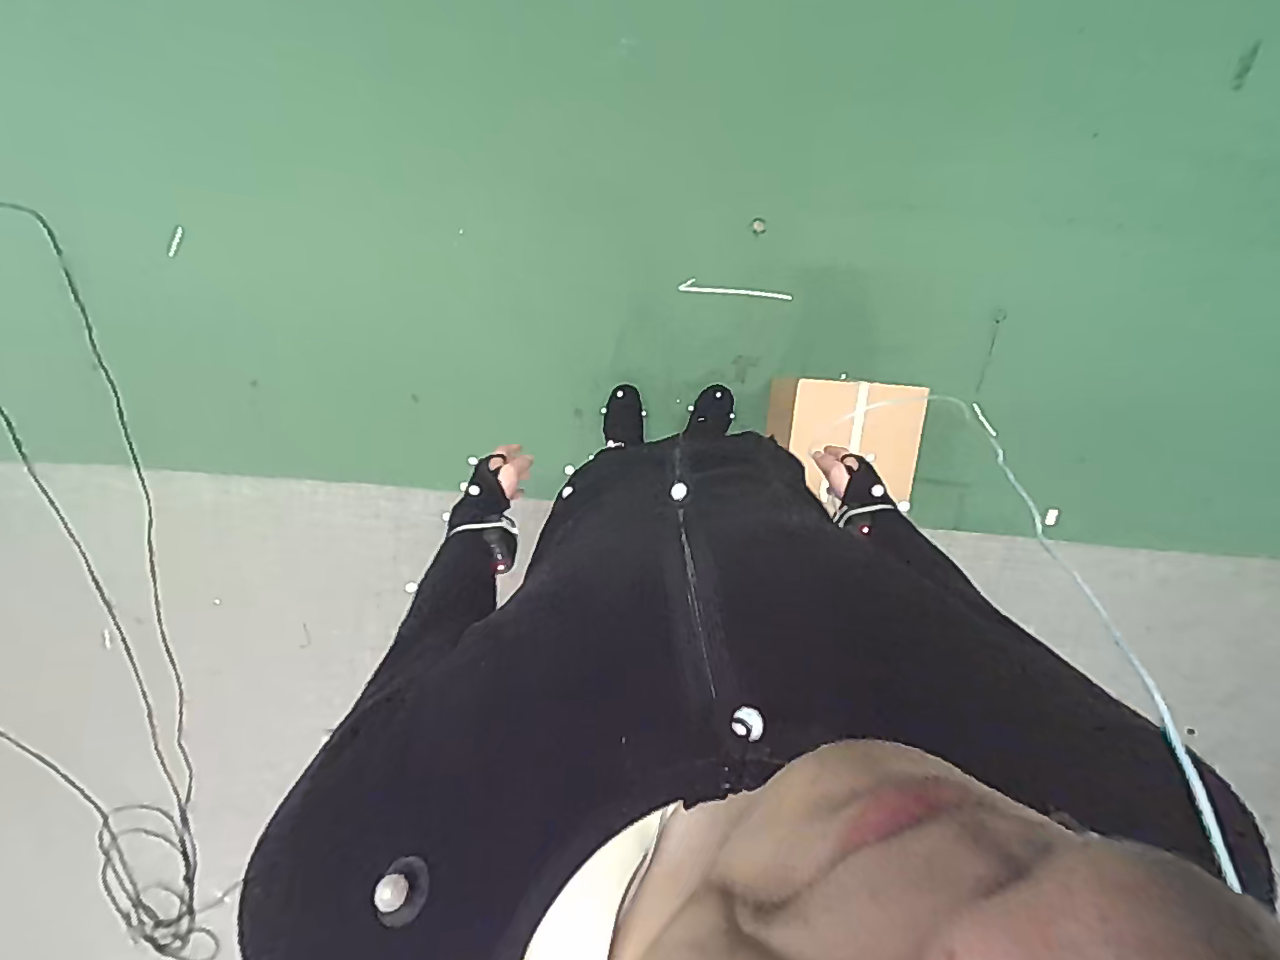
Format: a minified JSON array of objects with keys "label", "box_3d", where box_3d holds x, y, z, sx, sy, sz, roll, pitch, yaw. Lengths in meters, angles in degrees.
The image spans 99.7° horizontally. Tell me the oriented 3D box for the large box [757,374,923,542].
[{"label":"large box","box_3d":[0.517,-0.078,1.476,0.320,0.320,0.408,4,103,1]}]
